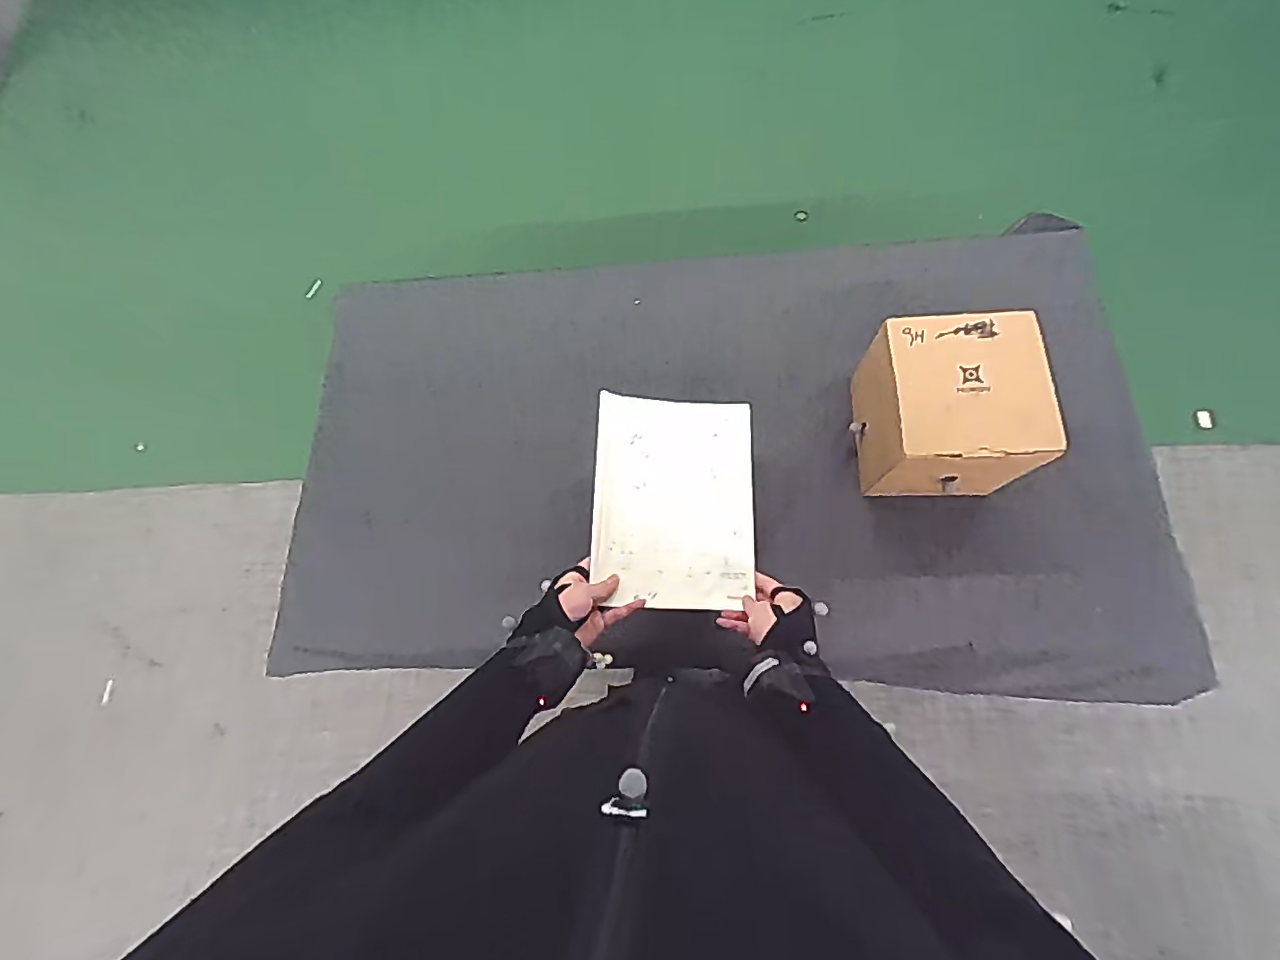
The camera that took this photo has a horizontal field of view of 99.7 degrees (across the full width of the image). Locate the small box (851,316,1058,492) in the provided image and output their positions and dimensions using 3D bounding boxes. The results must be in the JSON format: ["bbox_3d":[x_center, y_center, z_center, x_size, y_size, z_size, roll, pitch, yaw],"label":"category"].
[{"bbox_3d":[0.377,-0.084,0.683,0.168,0.176,0.179,-1,75,6],"label":"small box"}]
